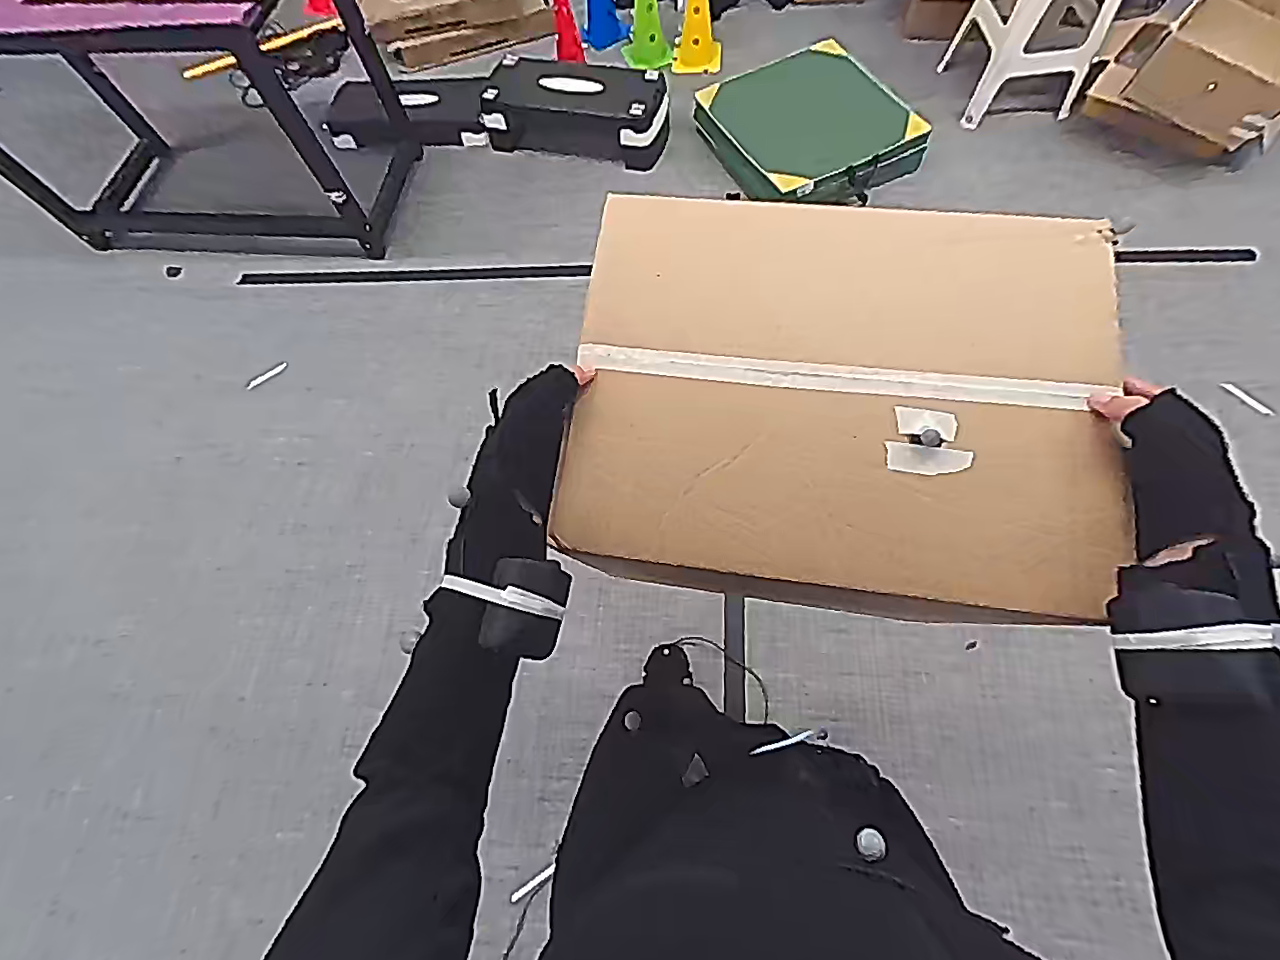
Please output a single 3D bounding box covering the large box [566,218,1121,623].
[{"bbox_3d":[0.165,-0.032,0.570,0.408,0.320,0.320,7,78,6],"label":"large box"}]
